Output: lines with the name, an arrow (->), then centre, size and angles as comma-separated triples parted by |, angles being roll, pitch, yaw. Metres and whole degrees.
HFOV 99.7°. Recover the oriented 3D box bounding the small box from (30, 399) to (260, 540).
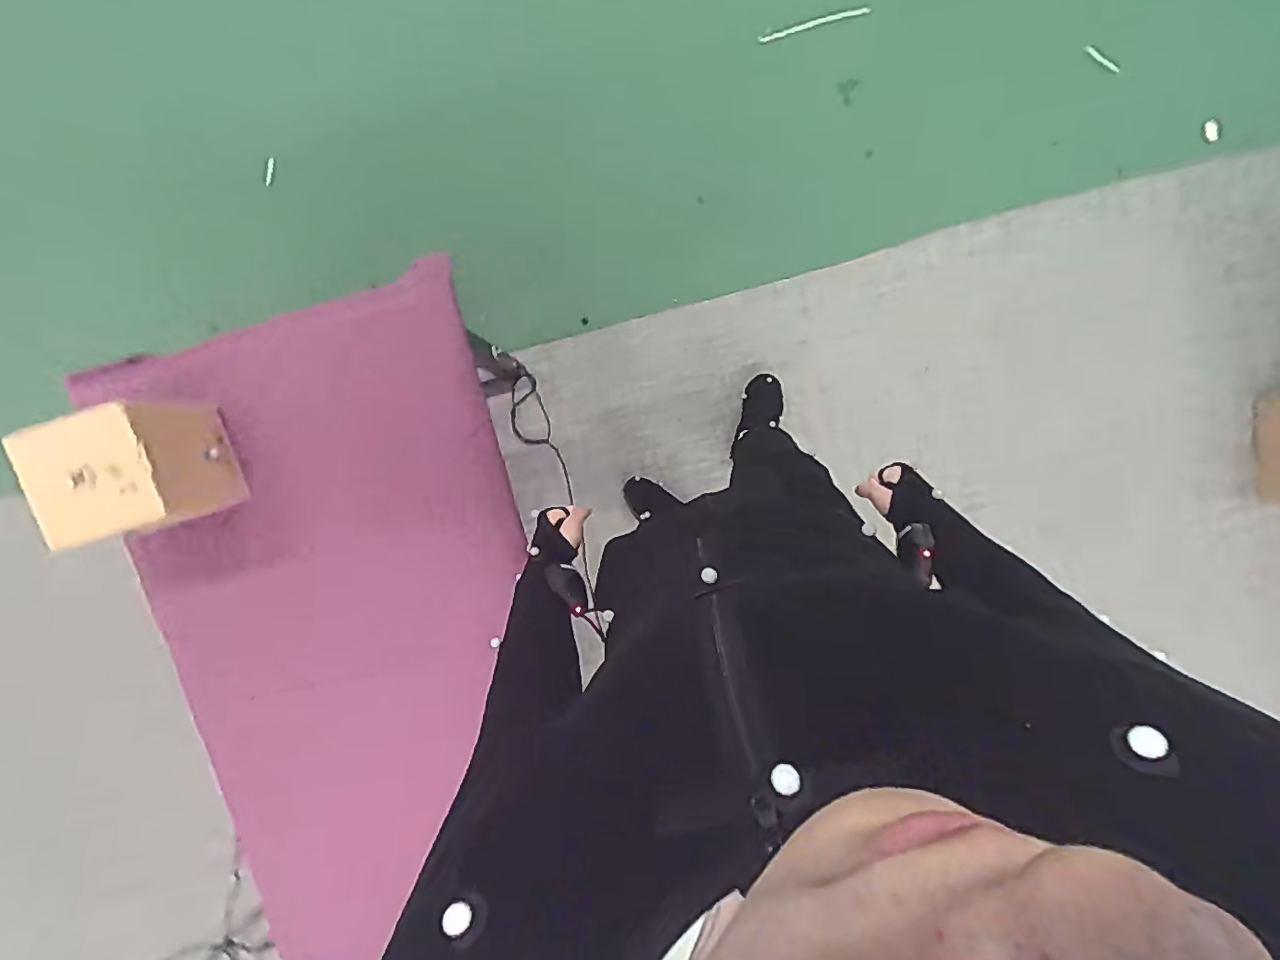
small box -> -0.753, -0.021, 0.843 | 0.179, 0.176, 0.168 | -17, 97, 2
